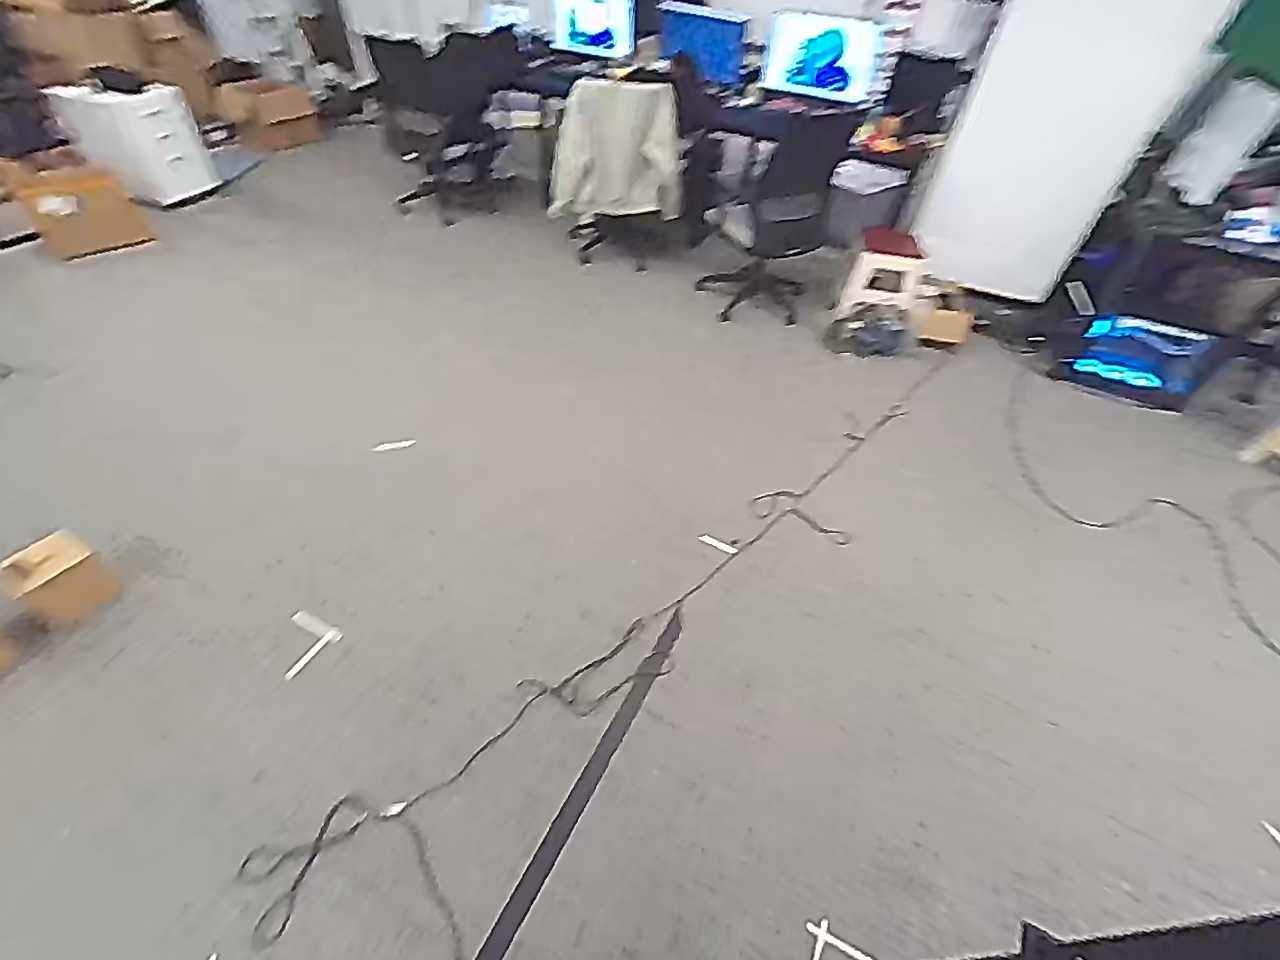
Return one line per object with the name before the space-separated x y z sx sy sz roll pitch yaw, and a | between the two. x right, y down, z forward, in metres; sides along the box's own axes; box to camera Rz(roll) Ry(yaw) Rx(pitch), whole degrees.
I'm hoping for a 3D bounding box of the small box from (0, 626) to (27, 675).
small box | -1.780 0.439 1.399 0.179 0.176 0.168 25 50 18
